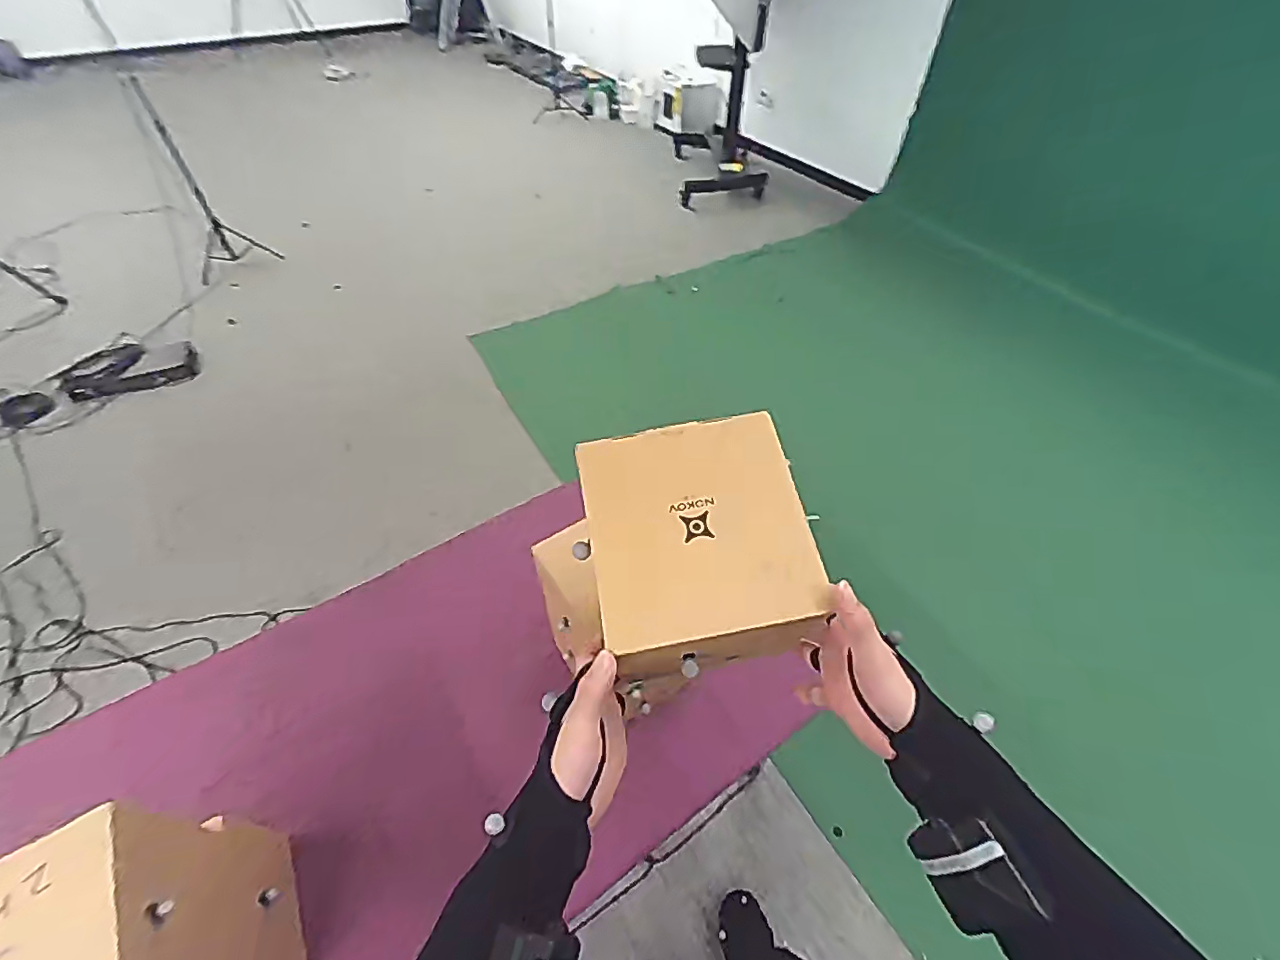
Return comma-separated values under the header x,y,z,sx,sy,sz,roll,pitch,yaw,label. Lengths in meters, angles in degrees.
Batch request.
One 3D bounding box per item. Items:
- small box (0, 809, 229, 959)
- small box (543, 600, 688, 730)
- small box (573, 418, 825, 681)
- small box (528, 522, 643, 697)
x,y,z,sx,sy,sz,roll,pitch,yaw,label
-0.494,0.429,0.467,0.168,0.176,0.179,-26,55,-23,small box
-0.034,0.253,0.847,0.168,0.176,0.179,-26,54,-20,small box
0.043,0.073,0.482,0.168,0.176,0.179,-10,62,-2,small box
-0.024,0.158,0.712,0.168,0.176,0.179,-28,53,-21,small box
